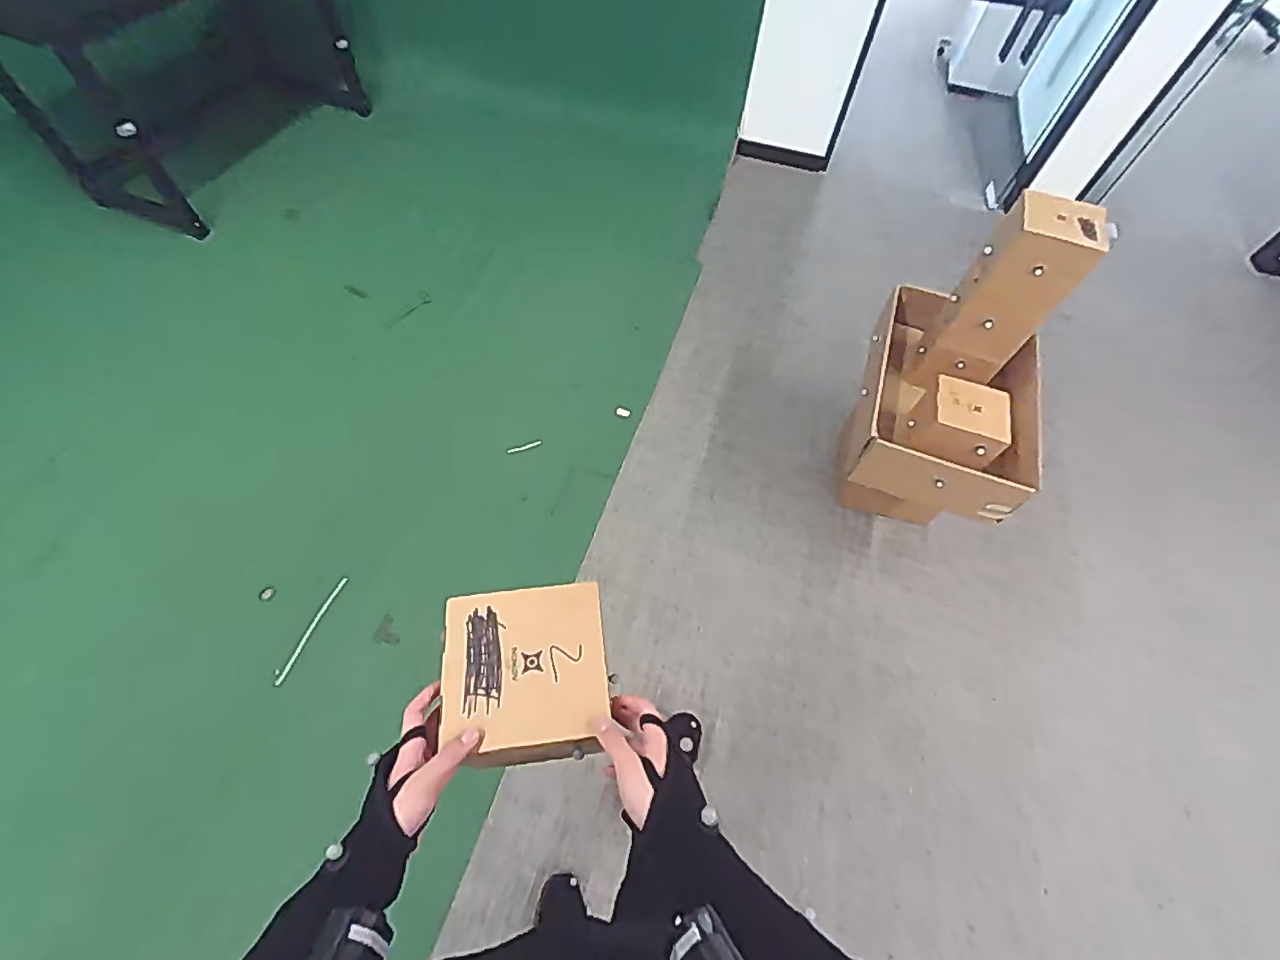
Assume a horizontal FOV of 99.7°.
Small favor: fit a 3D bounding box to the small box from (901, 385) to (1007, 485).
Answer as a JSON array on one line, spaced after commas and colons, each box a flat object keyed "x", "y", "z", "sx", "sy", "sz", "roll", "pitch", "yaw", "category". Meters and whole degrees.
[{"x": 0.799, "y": -0.108, "z": 1.382, "sx": 0.179, "sy": 0.176, "sz": 0.168, "roll": 18, "pitch": 58, "yaw": 7, "category": "small box"}]

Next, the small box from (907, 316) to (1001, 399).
[{"x": 0.884, "y": -0.325, "z": 1.526, "sx": 0.179, "sy": 0.176, "sz": 0.168, "roll": 22, "pitch": 60, "yaw": 8, "category": "small box"}]

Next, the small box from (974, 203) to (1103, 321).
[{"x": 0.910, "y": -0.494, "z": 1.245, "sx": 0.179, "sy": 0.176, "sz": 0.168, "roll": 20, "pitch": 60, "yaw": 8, "category": "small box"}]

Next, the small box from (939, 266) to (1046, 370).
[{"x": 0.898, "y": -0.411, "z": 1.387, "sx": 0.179, "sy": 0.176, "sz": 0.168, "roll": 21, "pitch": 61, "yaw": 9, "category": "small box"}]
